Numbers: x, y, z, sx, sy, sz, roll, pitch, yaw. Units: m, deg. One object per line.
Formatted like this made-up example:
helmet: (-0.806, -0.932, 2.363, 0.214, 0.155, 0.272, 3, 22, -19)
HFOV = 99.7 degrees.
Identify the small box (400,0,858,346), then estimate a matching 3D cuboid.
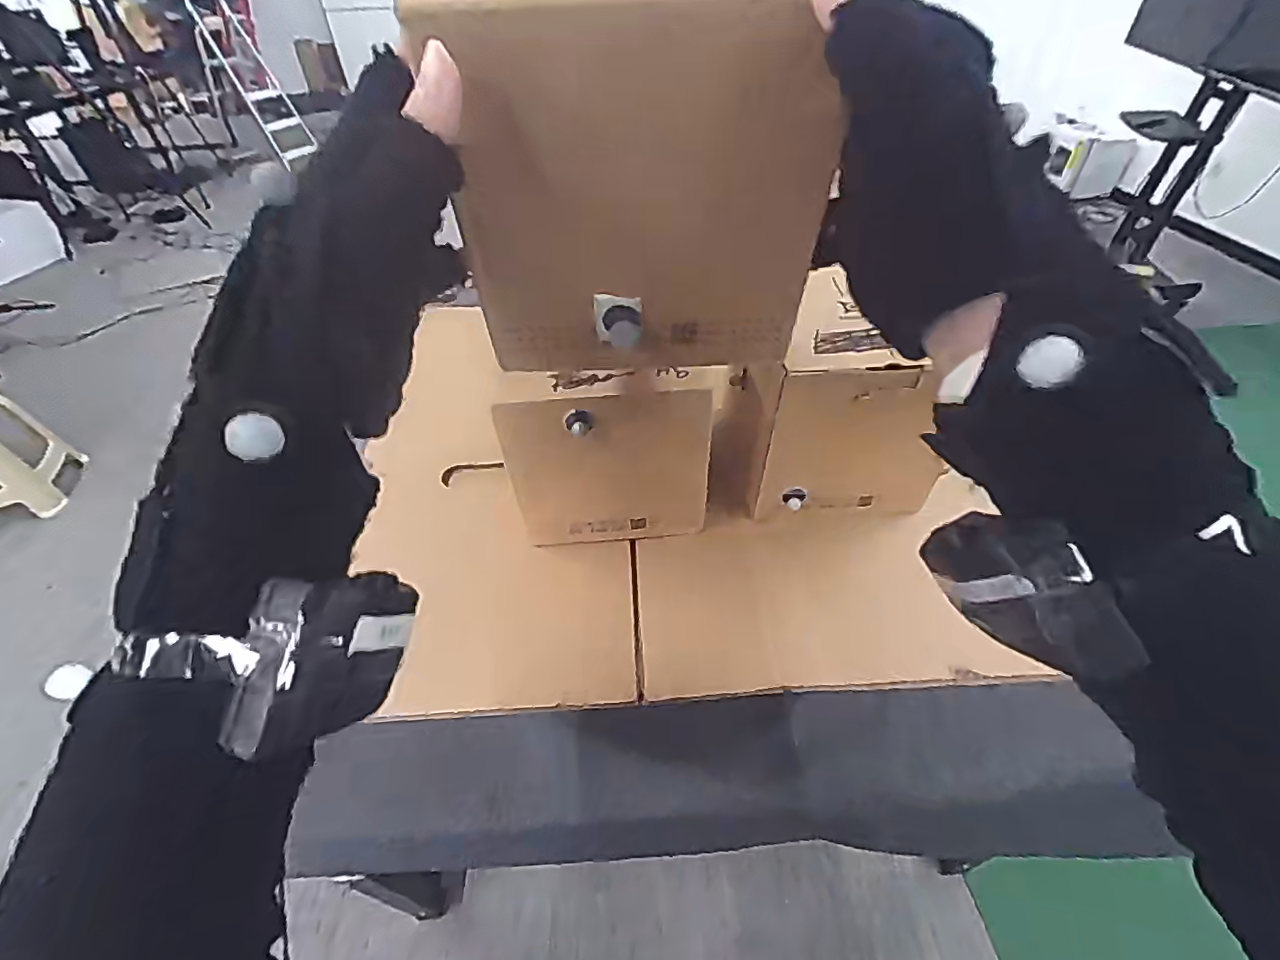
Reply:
small box: (-0.008, -0.193, 0.289, 0.168, 0.176, 0.179, -2, 54, -2)

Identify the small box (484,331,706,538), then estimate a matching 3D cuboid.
small box: (-0.033, -0.067, 0.507, 0.168, 0.176, 0.179, -4, 45, 0)
